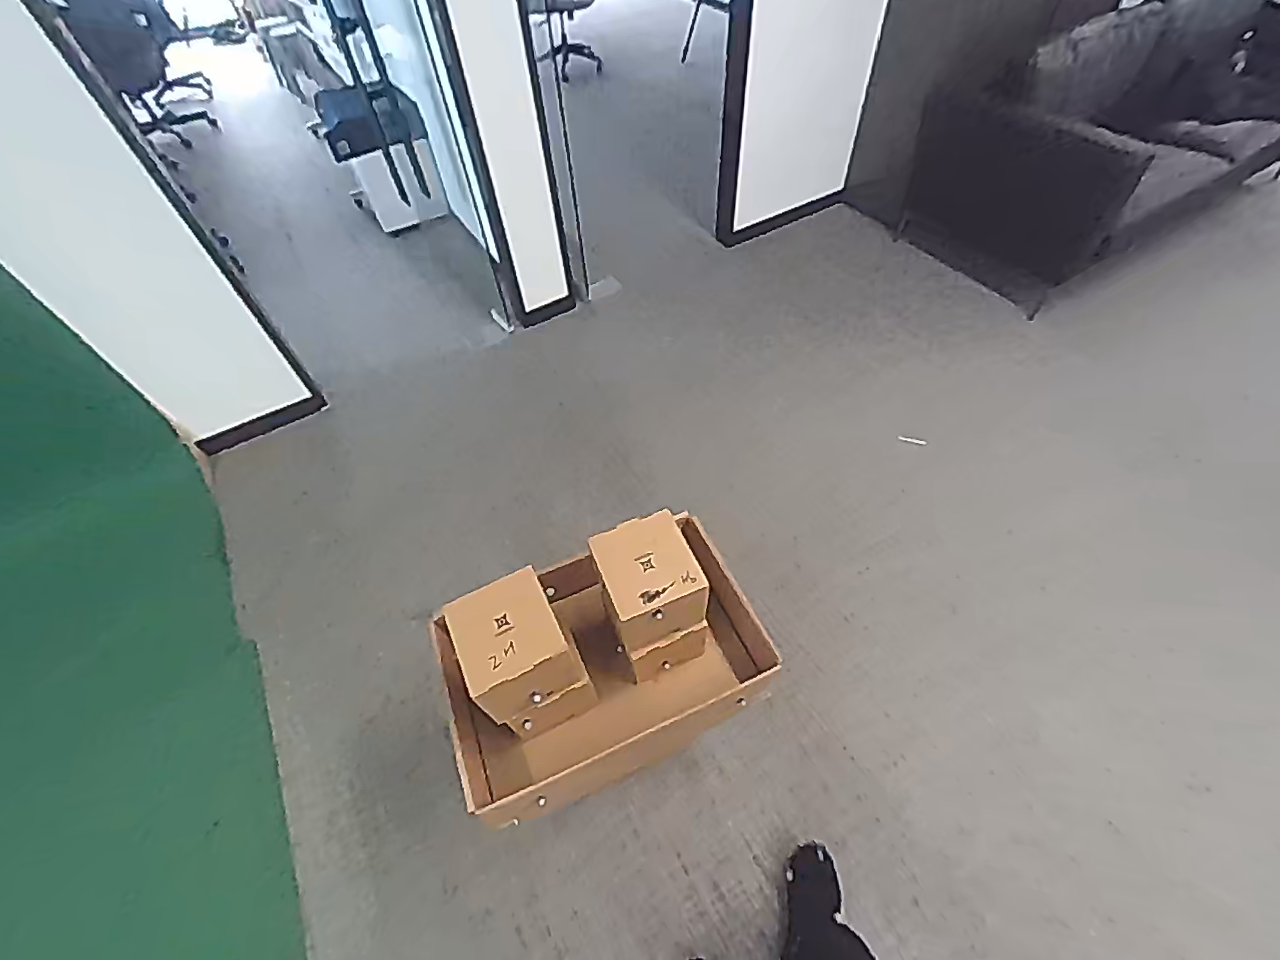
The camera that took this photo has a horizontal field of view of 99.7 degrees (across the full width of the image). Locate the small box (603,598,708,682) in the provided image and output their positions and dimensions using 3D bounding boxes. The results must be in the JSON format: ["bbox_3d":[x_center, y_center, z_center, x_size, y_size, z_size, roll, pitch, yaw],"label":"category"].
[{"bbox_3d":[0.025,0.295,1.141,0.168,0.176,0.179,-21,57,-12],"label":"small box"}]

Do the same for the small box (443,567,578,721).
[{"bbox_3d":[-0.221,0.290,0.949,0.168,0.176,0.179,-24,57,-14],"label":"small box"}]

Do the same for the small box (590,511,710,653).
[{"bbox_3d":[0.015,0.193,1.012,0.168,0.176,0.179,-19,56,-11],"label":"small box"}]
